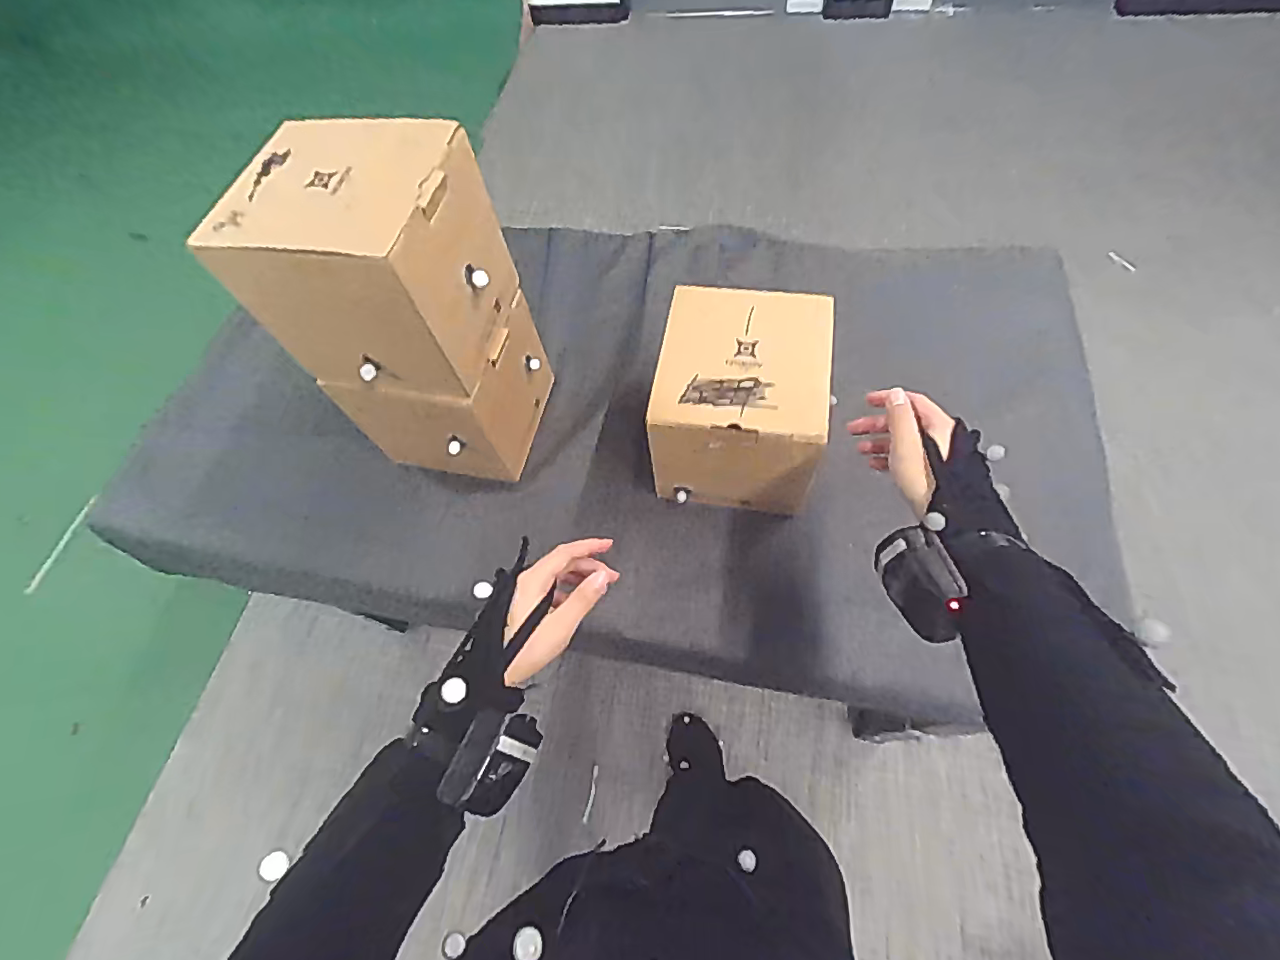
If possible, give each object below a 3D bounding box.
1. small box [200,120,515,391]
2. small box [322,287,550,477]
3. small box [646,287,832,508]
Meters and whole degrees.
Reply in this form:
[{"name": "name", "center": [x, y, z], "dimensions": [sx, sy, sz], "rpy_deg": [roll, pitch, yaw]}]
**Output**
[{"name": "small box", "center": [-0.237, -0.202, 0.511], "dimensions": [0.179, 0.176, 0.168], "rpy_deg": [8, 63, 9]}, {"name": "small box", "center": [-0.224, -0.118, 0.652], "dimensions": [0.179, 0.176, 0.168], "rpy_deg": [8, 62, 10]}, {"name": "small box", "center": [0.108, -0.085, 0.601], "dimensions": [0.168, 0.176, 0.179], "rpy_deg": [8, 63, 9]}]
